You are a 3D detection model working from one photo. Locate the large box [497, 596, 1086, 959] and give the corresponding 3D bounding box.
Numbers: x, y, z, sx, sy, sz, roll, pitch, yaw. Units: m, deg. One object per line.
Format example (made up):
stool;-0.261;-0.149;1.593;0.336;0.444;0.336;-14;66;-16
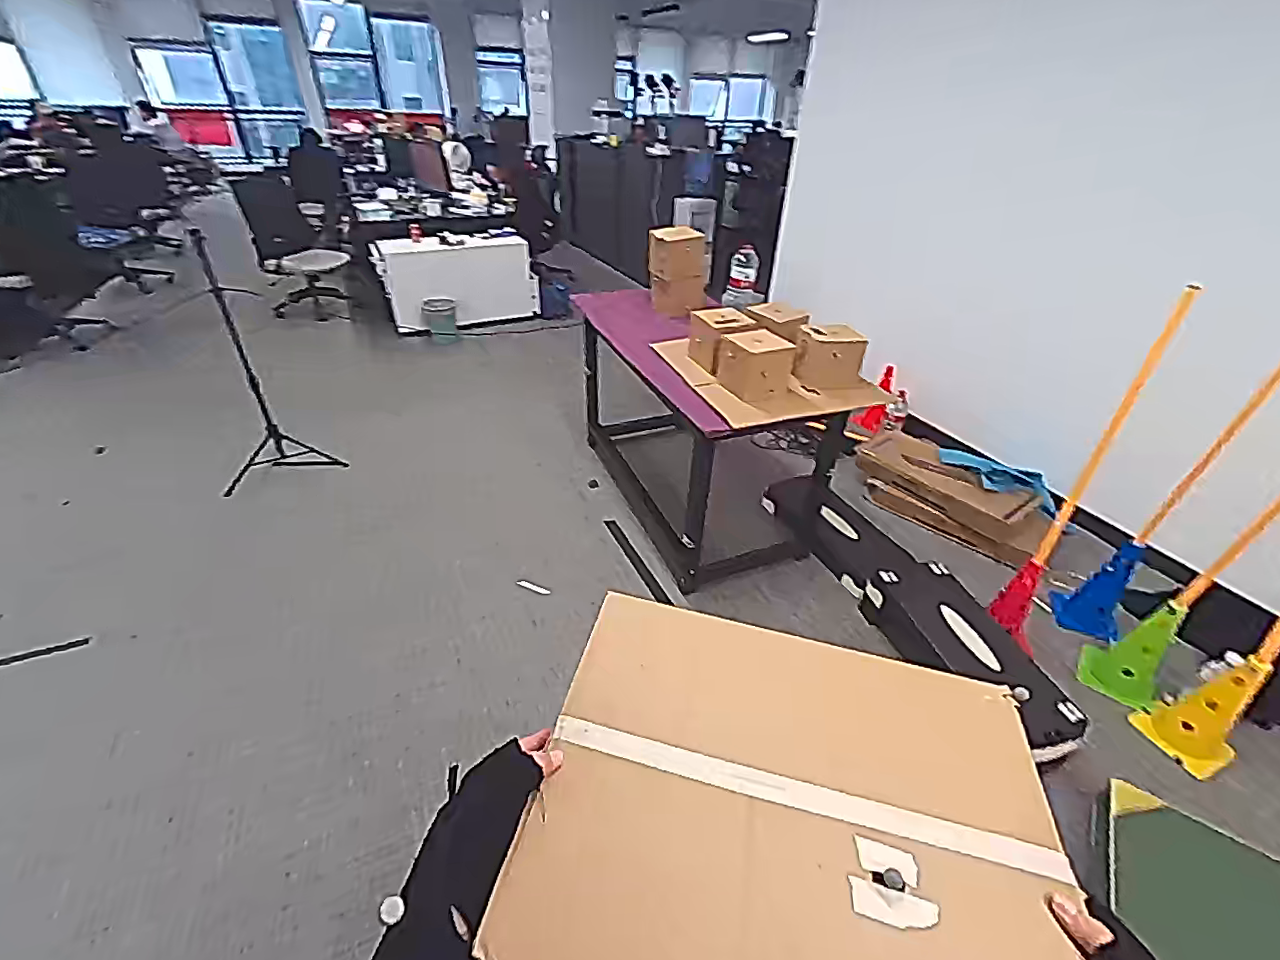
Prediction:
large box;0.116;0.370;0.538;0.408;0.320;0.320;12;39;9
